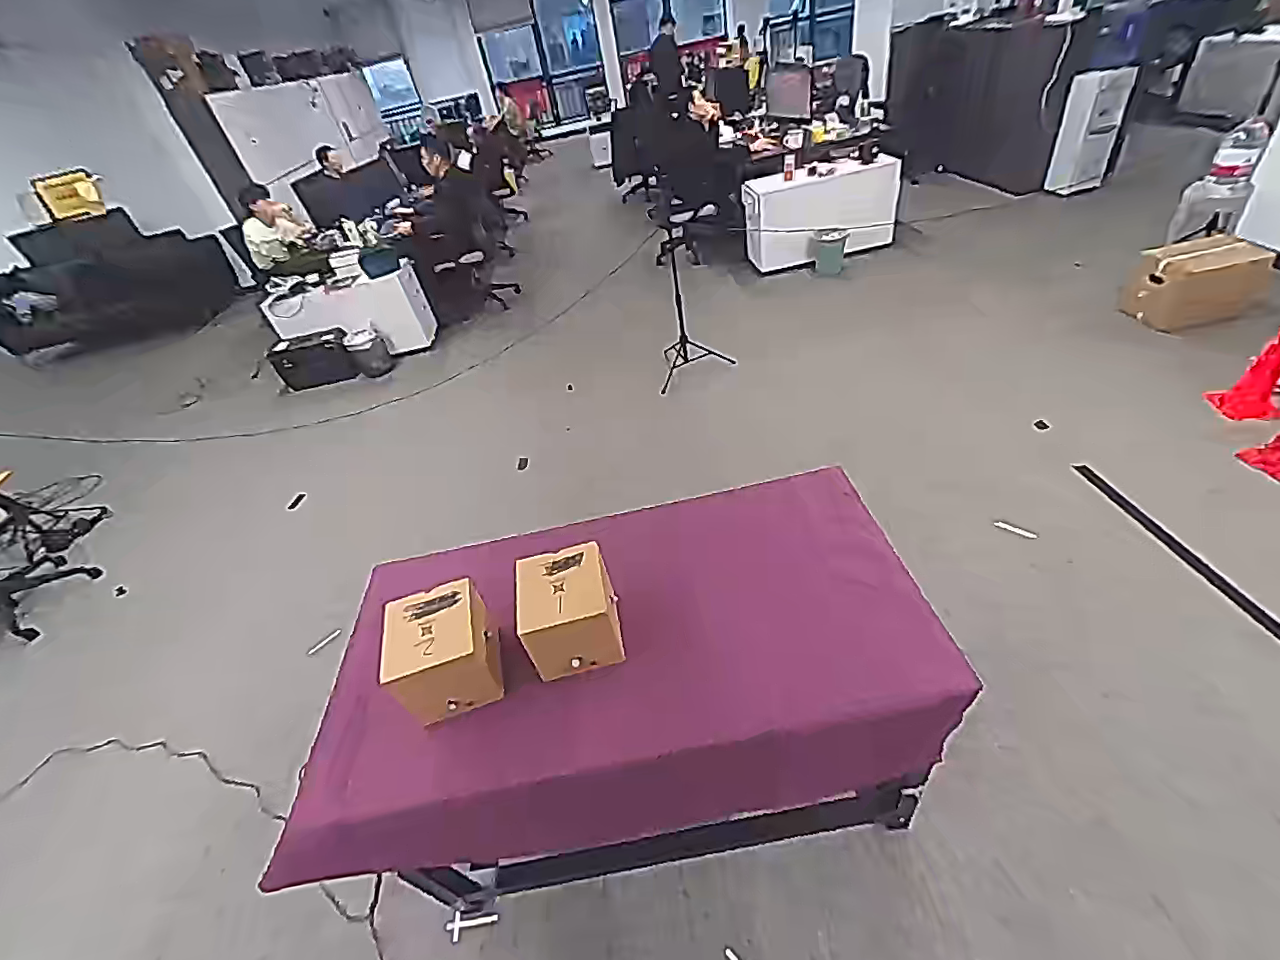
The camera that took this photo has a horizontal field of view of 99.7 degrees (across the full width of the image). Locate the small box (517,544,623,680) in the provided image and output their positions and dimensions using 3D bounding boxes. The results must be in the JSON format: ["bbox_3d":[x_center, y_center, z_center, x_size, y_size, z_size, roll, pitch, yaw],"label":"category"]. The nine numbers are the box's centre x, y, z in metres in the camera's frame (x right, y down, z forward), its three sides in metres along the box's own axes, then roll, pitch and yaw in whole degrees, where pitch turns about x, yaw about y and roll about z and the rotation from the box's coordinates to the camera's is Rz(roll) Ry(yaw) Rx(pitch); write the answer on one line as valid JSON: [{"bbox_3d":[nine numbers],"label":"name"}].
[{"bbox_3d":[-0.137,0.260,1.066,0.168,0.176,0.179,-15,41,-1],"label":"small box"}]
